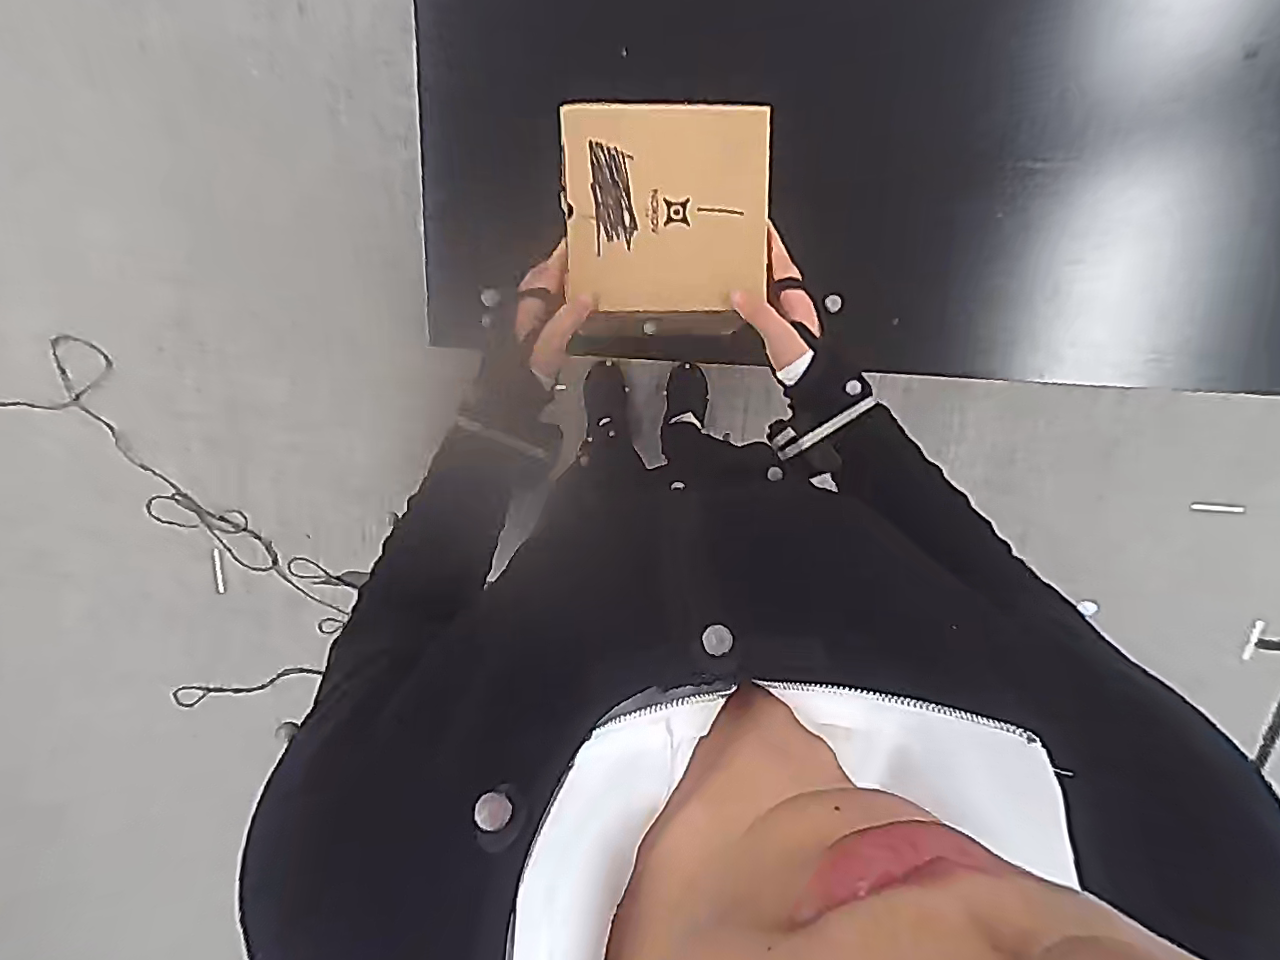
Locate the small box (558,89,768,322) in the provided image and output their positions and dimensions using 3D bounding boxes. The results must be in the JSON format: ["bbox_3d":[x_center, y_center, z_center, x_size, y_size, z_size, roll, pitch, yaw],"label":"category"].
[{"bbox_3d":[0.017,-0.250,0.534,0.179,0.176,0.168,-1,99,-3],"label":"small box"}]
